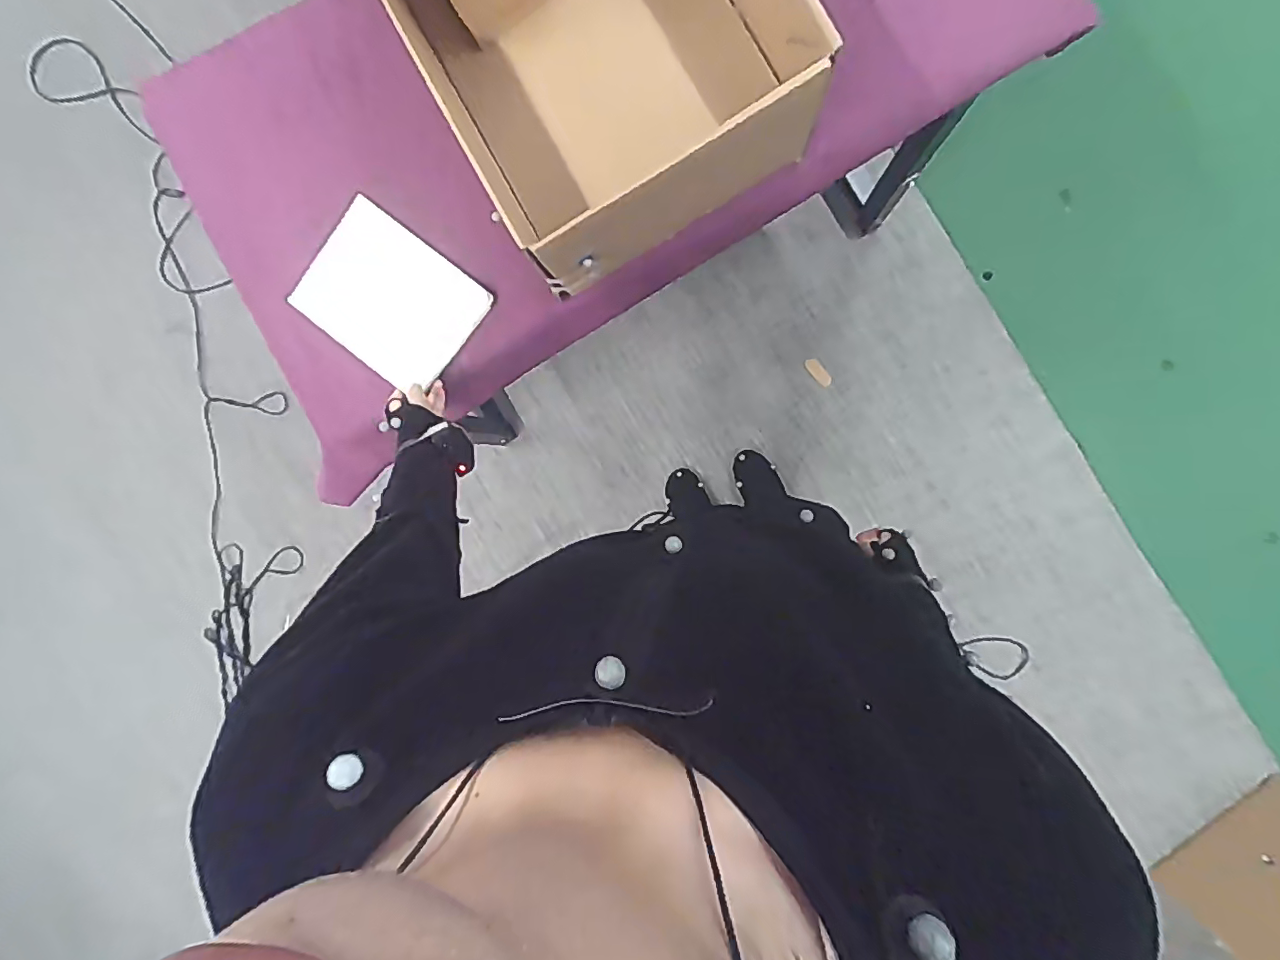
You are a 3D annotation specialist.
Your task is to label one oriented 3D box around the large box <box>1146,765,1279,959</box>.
[{"bbox_3d":[1.536,0.967,1.236,0.320,0.320,0.408,45,95,2],"label":"large box"}]
